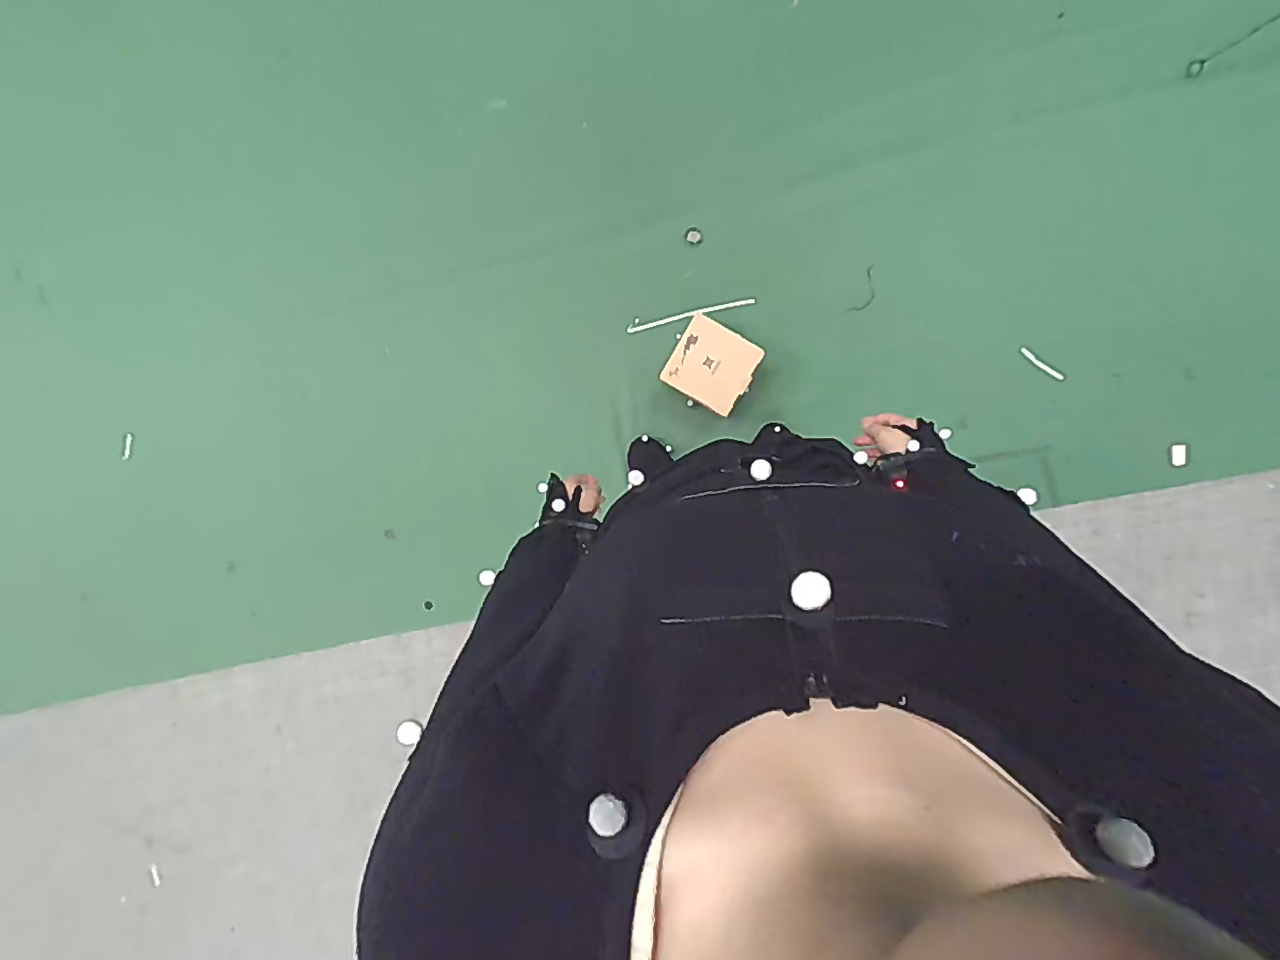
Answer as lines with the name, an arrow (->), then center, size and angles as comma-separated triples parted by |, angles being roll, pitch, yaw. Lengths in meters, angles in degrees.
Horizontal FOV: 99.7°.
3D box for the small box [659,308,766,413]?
small box -> 0.163, -0.269, 1.243 | 0.179, 0.176, 0.168 | 31, 99, 1
